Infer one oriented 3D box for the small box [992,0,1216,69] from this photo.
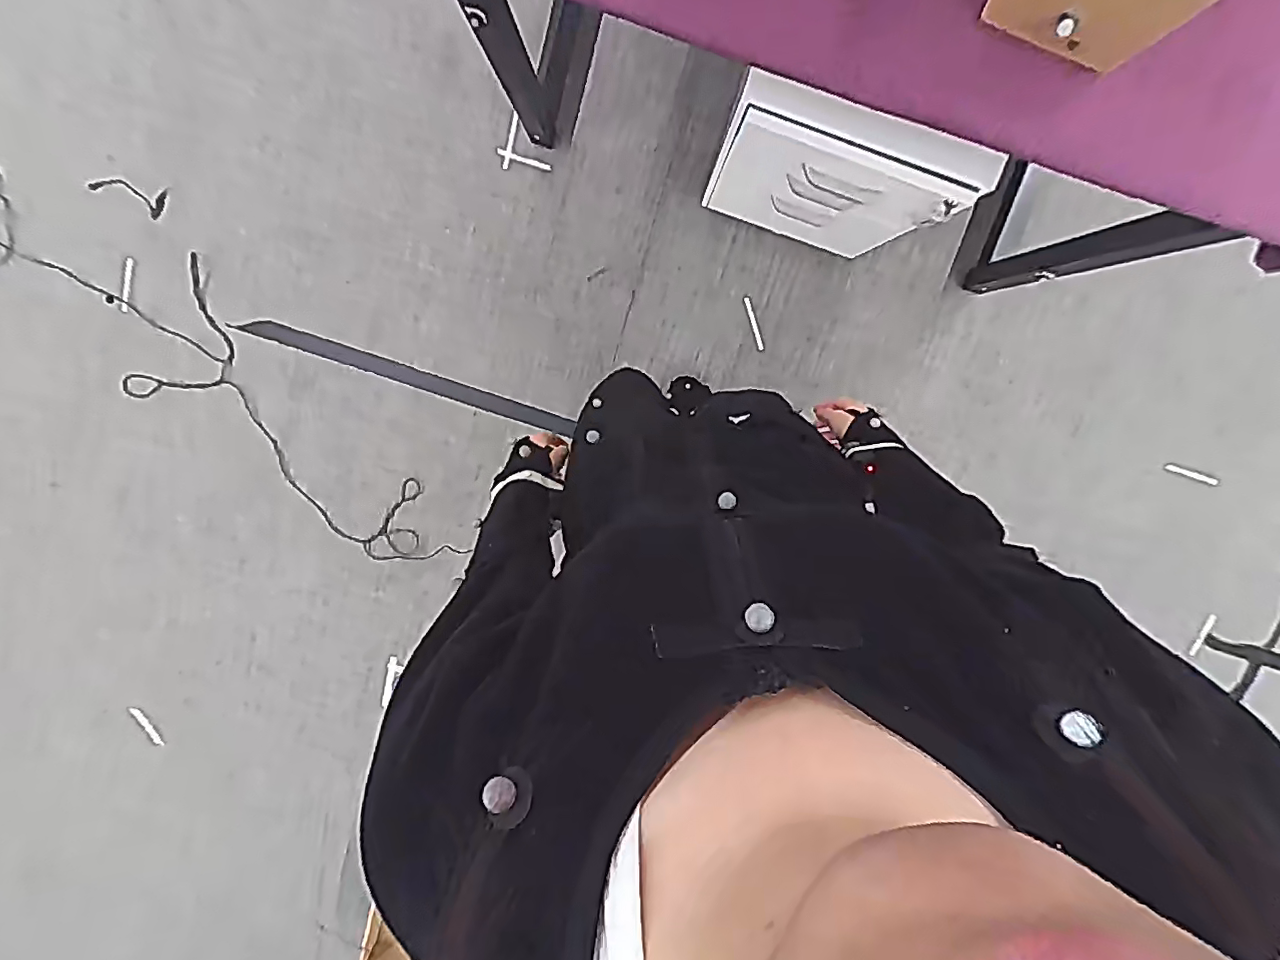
[{"bbox_3d":[0.499,-0.568,0.534,0.168,0.176,0.179,20,101,-3],"label":"small box"}]
